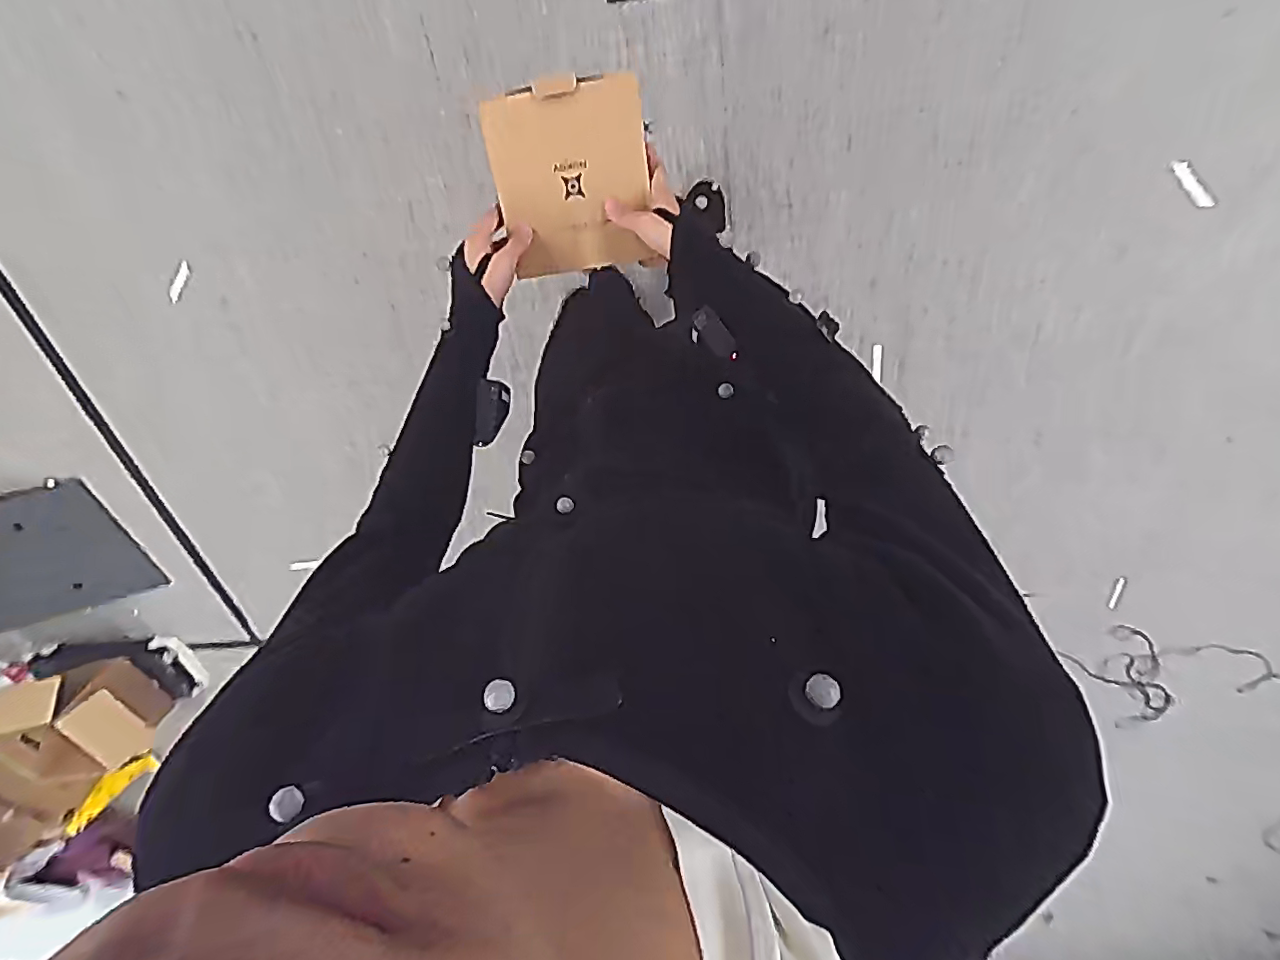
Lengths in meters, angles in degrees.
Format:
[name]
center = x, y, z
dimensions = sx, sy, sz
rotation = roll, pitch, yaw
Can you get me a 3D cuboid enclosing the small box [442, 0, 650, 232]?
[small box]
center = -0.082, -0.371, 0.572
dimensions = 0.168, 0.176, 0.179
rotation = -7, 117, 5
